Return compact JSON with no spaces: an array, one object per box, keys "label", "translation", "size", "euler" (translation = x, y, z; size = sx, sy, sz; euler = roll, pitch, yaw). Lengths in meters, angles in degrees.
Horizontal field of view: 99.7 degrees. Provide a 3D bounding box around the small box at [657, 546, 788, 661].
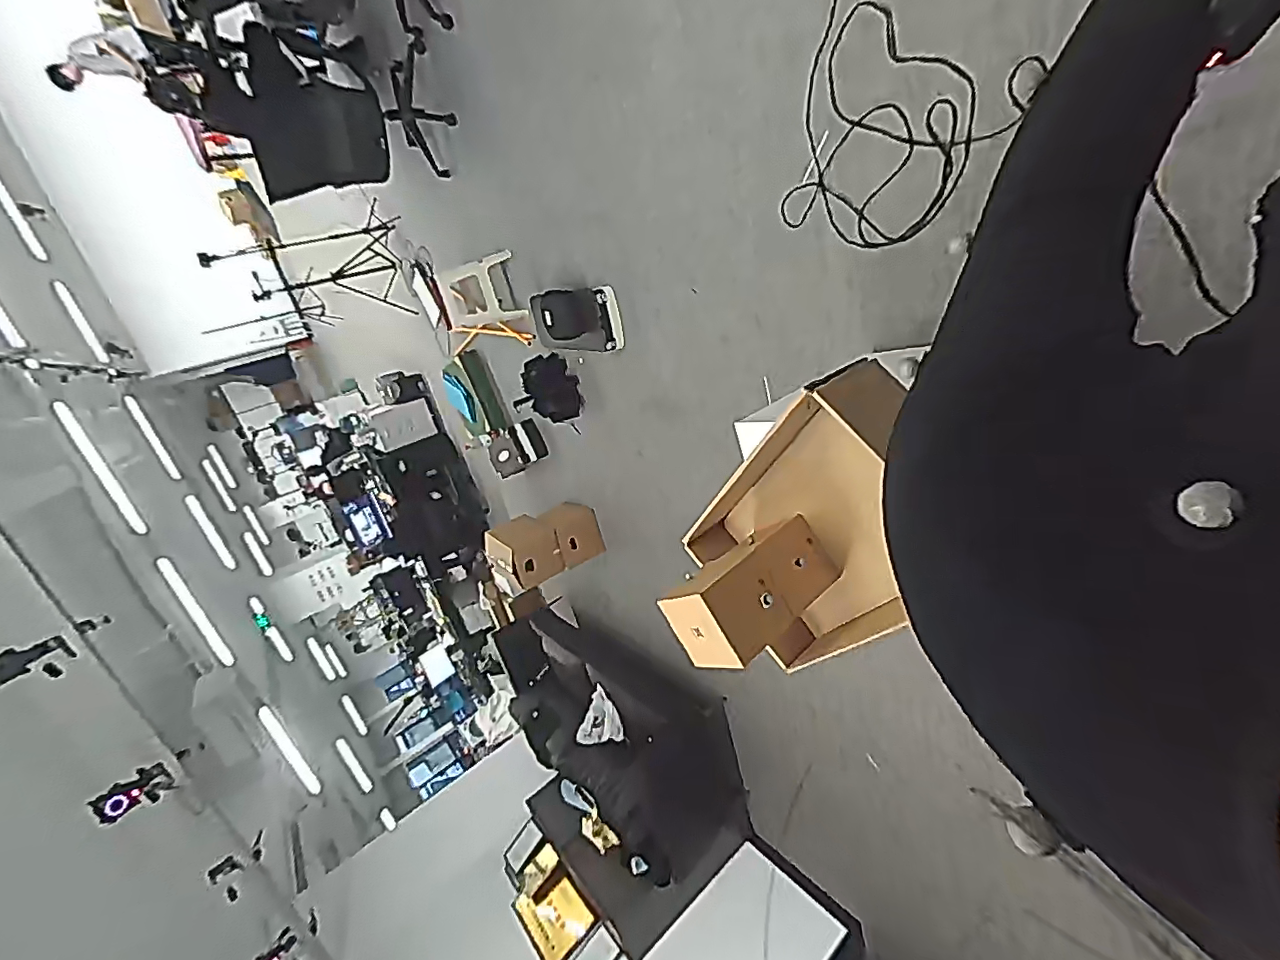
[{"label":"small box","translation":[0.172,0.258,1.132],"size":[0.168,0.176,0.179],"euler":[58,148,0]}]
